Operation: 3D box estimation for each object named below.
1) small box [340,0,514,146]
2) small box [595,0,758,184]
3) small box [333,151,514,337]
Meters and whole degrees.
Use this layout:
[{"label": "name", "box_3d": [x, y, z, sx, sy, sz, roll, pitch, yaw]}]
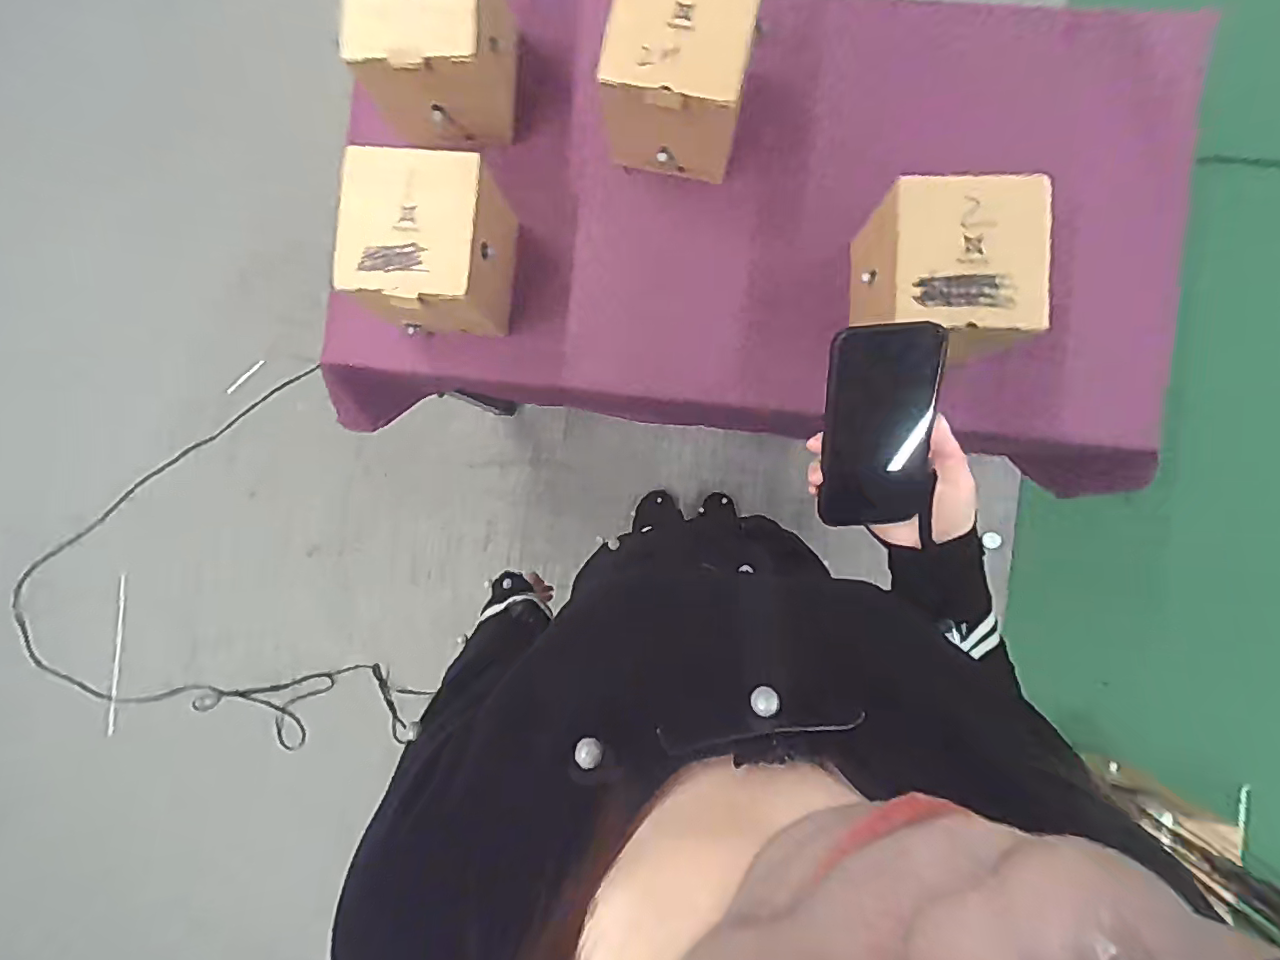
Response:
[{"label": "small box", "box_3d": [-0.273, -0.581, 0.728, 0.168, 0.176, 0.179, 2, 91, 3]}, {"label": "small box", "box_3d": [0.048, -0.529, 0.706, 0.168, 0.176, 0.179, 13, 91, 4]}, {"label": "small box", "box_3d": [-0.276, -0.302, 0.725, 0.168, 0.176, 0.179, 5, 88, 3]}]
